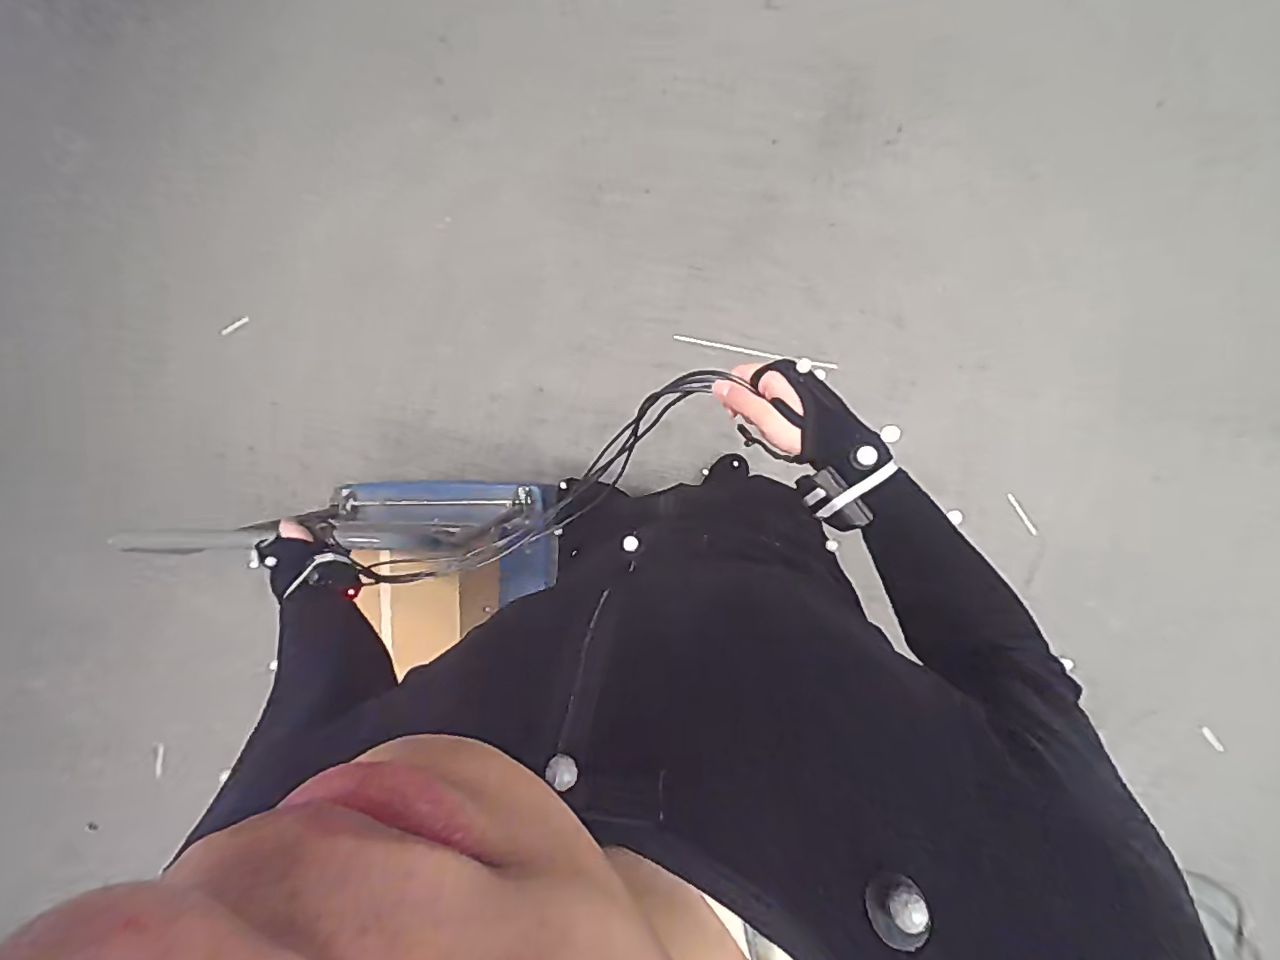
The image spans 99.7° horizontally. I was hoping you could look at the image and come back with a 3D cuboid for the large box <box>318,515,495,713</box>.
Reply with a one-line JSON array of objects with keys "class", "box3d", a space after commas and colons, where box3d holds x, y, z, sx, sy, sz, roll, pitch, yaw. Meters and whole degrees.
[{"class": "large box", "box3d": [-0.547, 0.303, 1.331, 0.320, 0.320, 0.408, 1, 95, 1]}]
